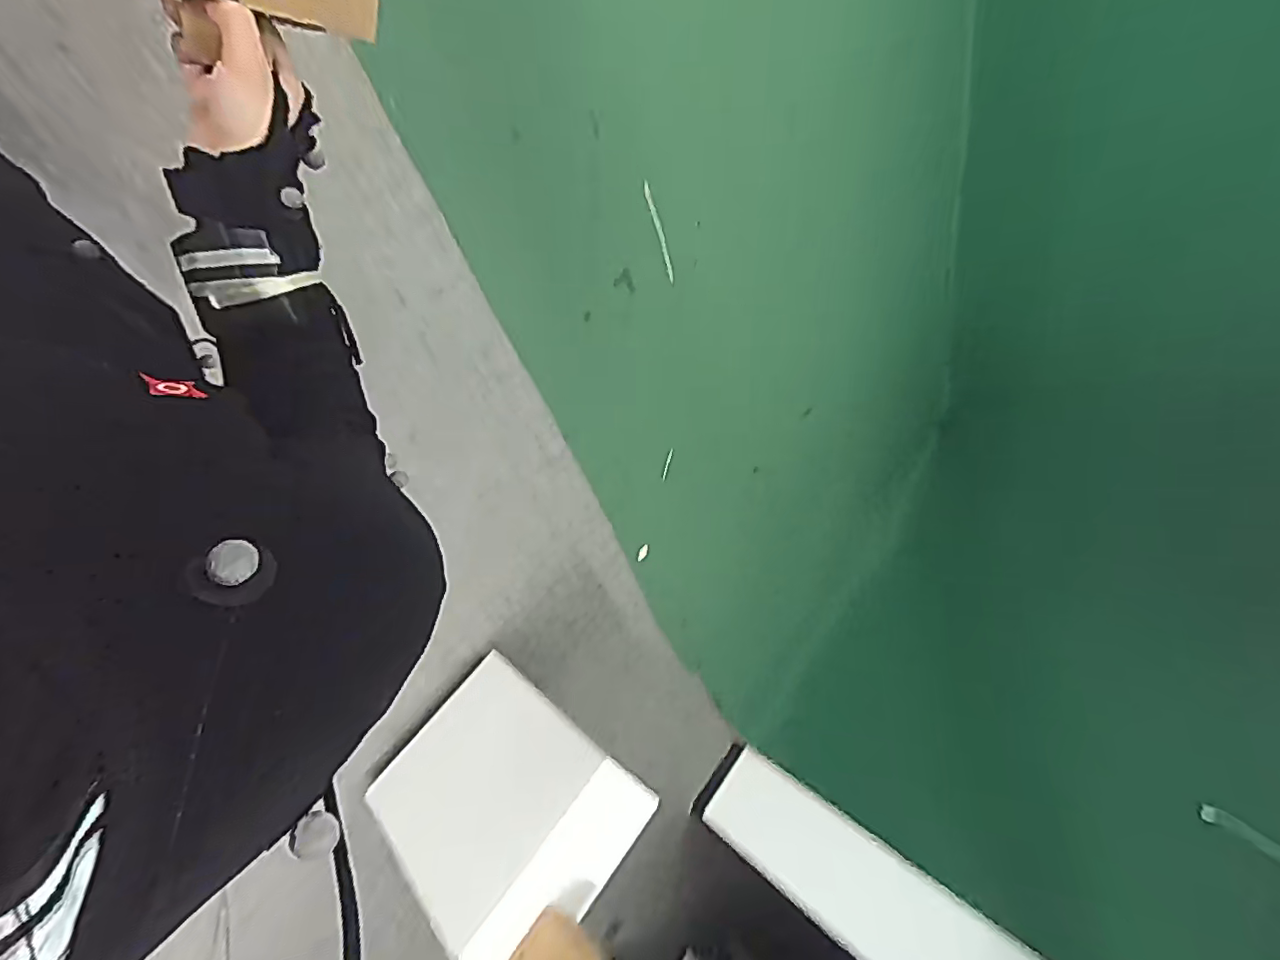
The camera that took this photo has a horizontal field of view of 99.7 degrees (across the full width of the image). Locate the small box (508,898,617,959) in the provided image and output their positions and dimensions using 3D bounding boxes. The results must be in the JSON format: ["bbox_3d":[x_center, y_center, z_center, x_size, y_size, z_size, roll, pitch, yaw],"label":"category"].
[{"bbox_3d":[-0.193,1.179,1.333,0.168,0.176,0.179,-48,136,-21],"label":"small box"}]
